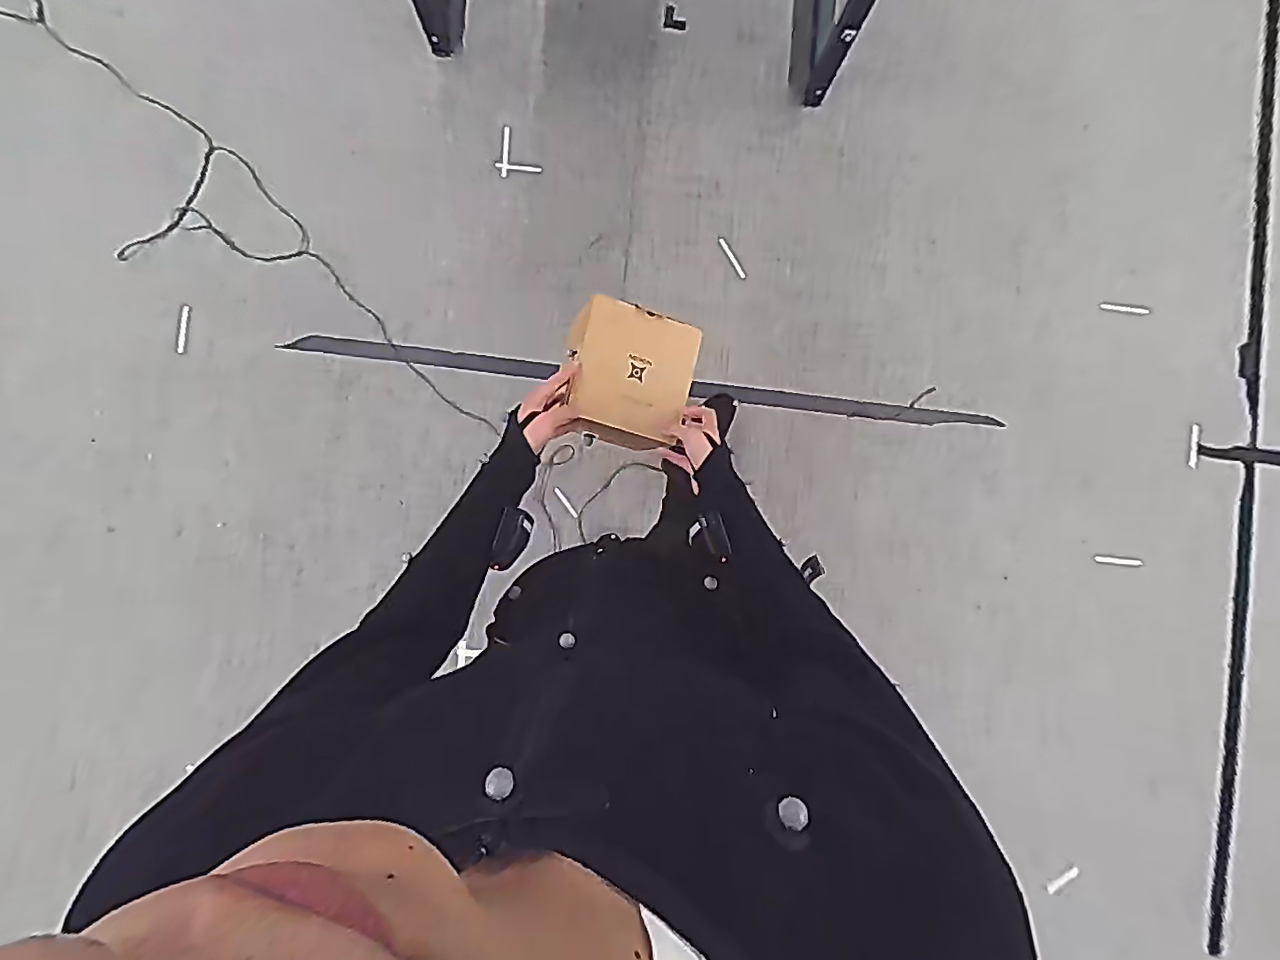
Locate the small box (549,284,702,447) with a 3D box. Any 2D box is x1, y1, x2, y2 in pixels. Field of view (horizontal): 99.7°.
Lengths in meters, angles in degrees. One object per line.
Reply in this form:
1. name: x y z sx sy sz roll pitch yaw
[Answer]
1. small box: -0.030 -0.157 0.808 0.168 0.176 0.179 15 84 -18
